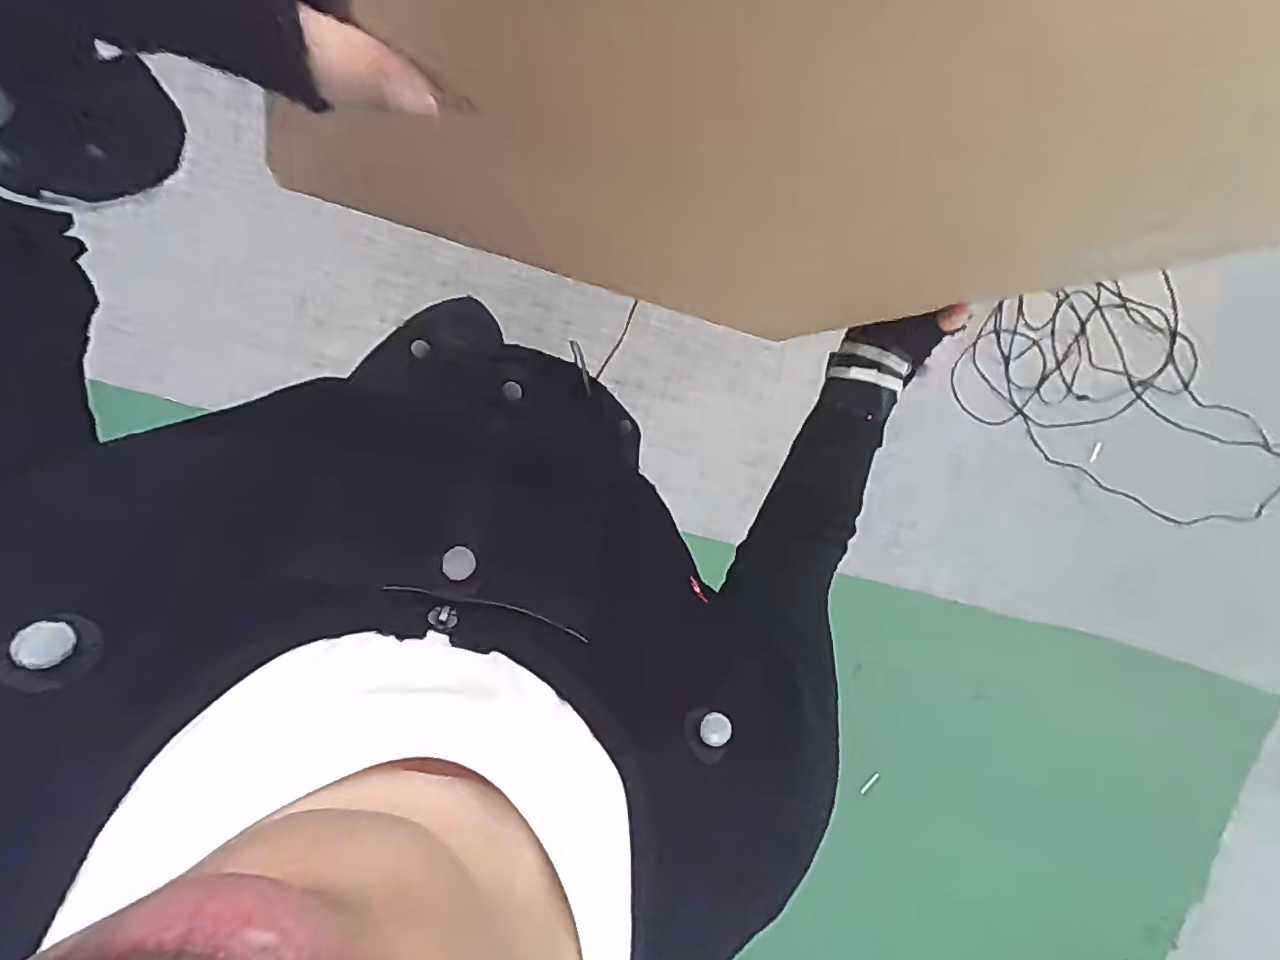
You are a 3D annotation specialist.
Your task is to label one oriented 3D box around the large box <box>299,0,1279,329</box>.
[{"bbox_3d":[0.100,-0.281,0.260,0.408,0.320,0.320,-2,94,-47],"label":"large box"}]
